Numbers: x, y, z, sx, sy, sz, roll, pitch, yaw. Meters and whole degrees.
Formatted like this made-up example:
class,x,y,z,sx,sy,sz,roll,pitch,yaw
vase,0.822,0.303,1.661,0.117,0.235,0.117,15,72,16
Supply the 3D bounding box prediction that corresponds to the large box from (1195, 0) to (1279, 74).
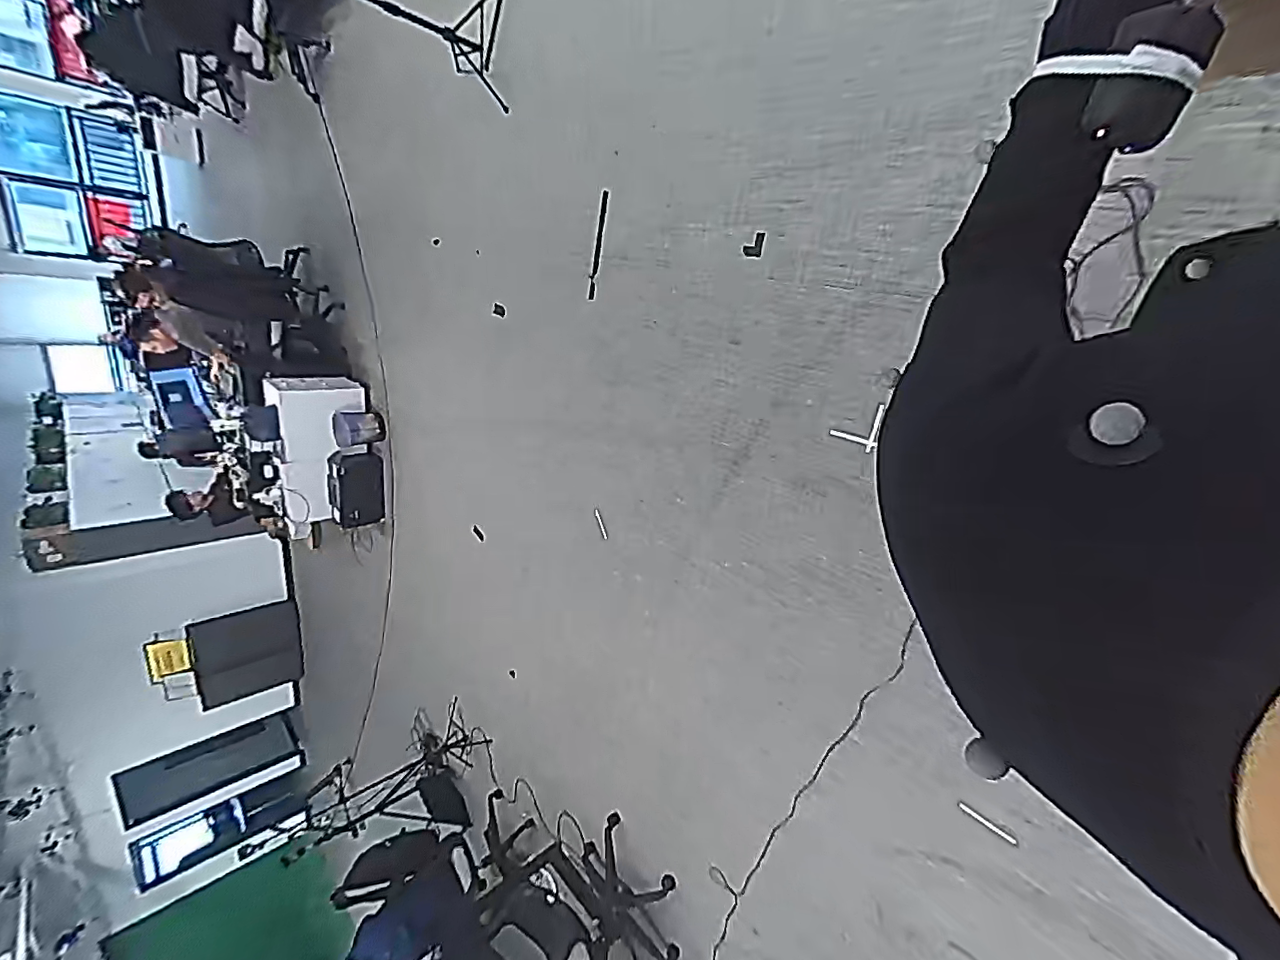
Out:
class,x,y,z,sx,sy,sz,roll,pitch,yaw
large box,0.581,-0.428,0.243,0.408,0.320,0.320,22,125,38
